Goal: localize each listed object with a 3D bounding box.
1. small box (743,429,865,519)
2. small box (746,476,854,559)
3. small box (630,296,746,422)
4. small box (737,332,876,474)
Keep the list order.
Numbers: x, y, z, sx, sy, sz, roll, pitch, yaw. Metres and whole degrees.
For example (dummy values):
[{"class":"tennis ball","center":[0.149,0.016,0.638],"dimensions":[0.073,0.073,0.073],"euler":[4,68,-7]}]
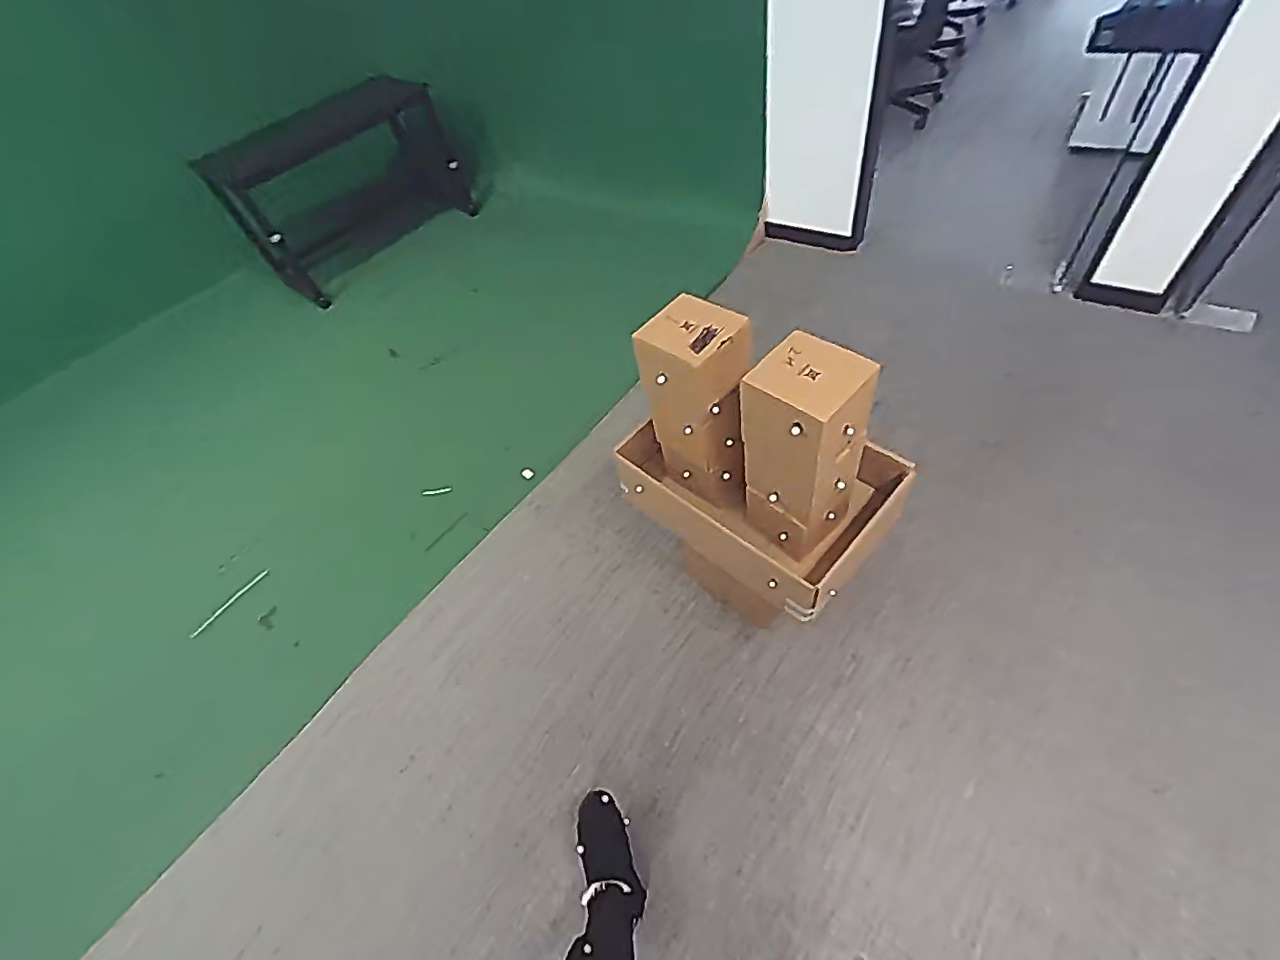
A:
[{"class":"small box","center":[0.337,-0.043,1.133],"dimensions":[0.168,0.176,0.179],"euler":[-40,57,-16]},{"class":"small box","center":[0.371,0.053,1.261],"dimensions":[0.179,0.176,0.168],"euler":[-40,56,-16]},{"class":"small box","center":[0.108,-0.248,1.134],"dimensions":[0.179,0.176,0.168],"euler":[33,67,31]},{"class":"small box","center":[0.302,-0.135,1.000],"dimensions":[0.168,0.176,0.179],"euler":[-43,56,-18]}]
